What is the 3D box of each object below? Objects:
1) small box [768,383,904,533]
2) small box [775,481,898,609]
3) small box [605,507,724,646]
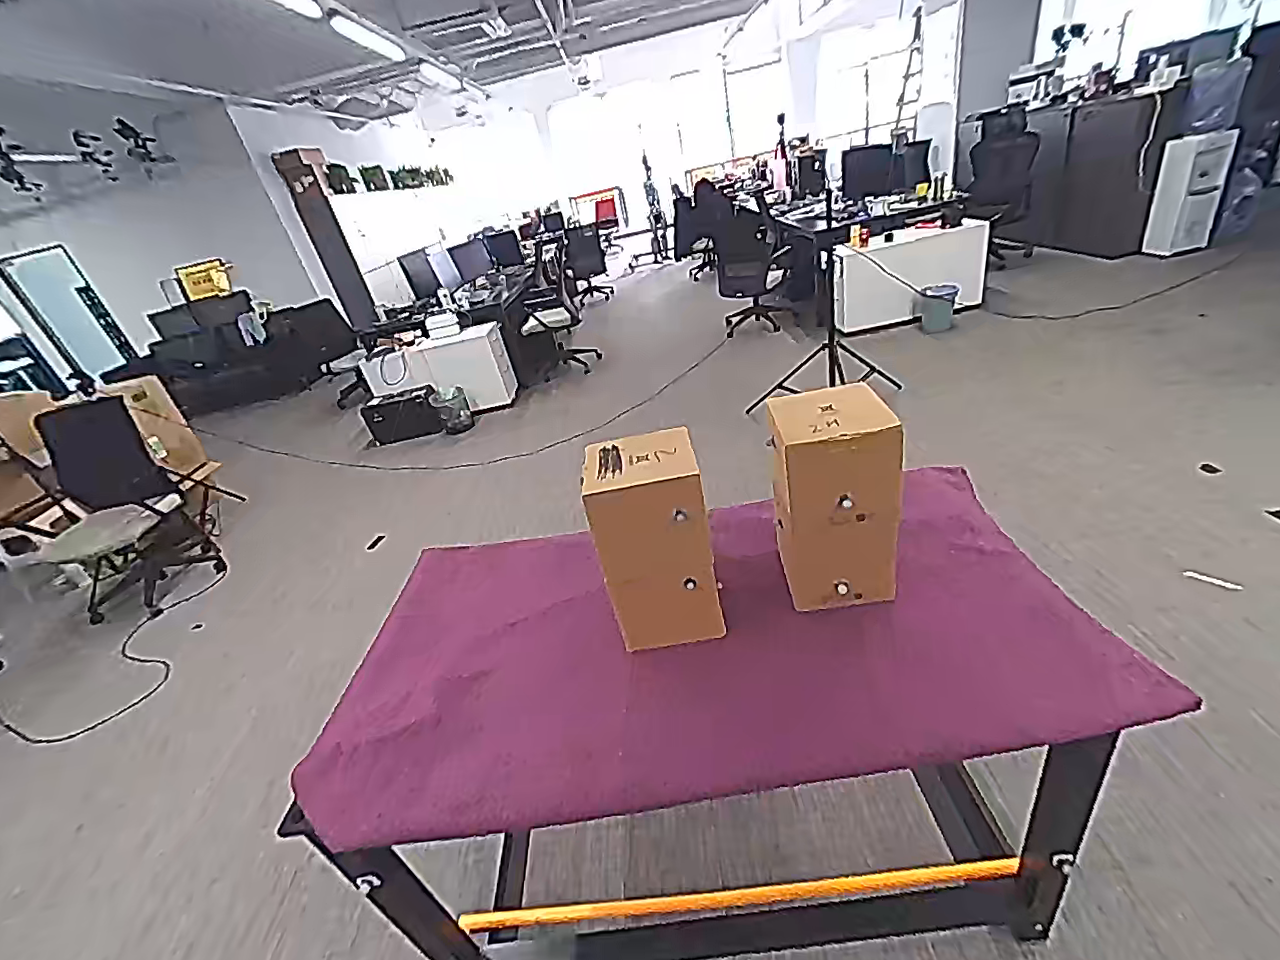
[{"bbox_3d":[0.307,-0.037,0.874,0.168,0.176,0.179,-10,30,8],"label":"small box"},{"bbox_3d":[0.338,0.102,0.956,0.168,0.176,0.179,-9,30,8],"label":"small box"},{"bbox_3d":[0.043,0.173,0.960,0.179,0.176,0.168,-10,29,4],"label":"small box"}]
